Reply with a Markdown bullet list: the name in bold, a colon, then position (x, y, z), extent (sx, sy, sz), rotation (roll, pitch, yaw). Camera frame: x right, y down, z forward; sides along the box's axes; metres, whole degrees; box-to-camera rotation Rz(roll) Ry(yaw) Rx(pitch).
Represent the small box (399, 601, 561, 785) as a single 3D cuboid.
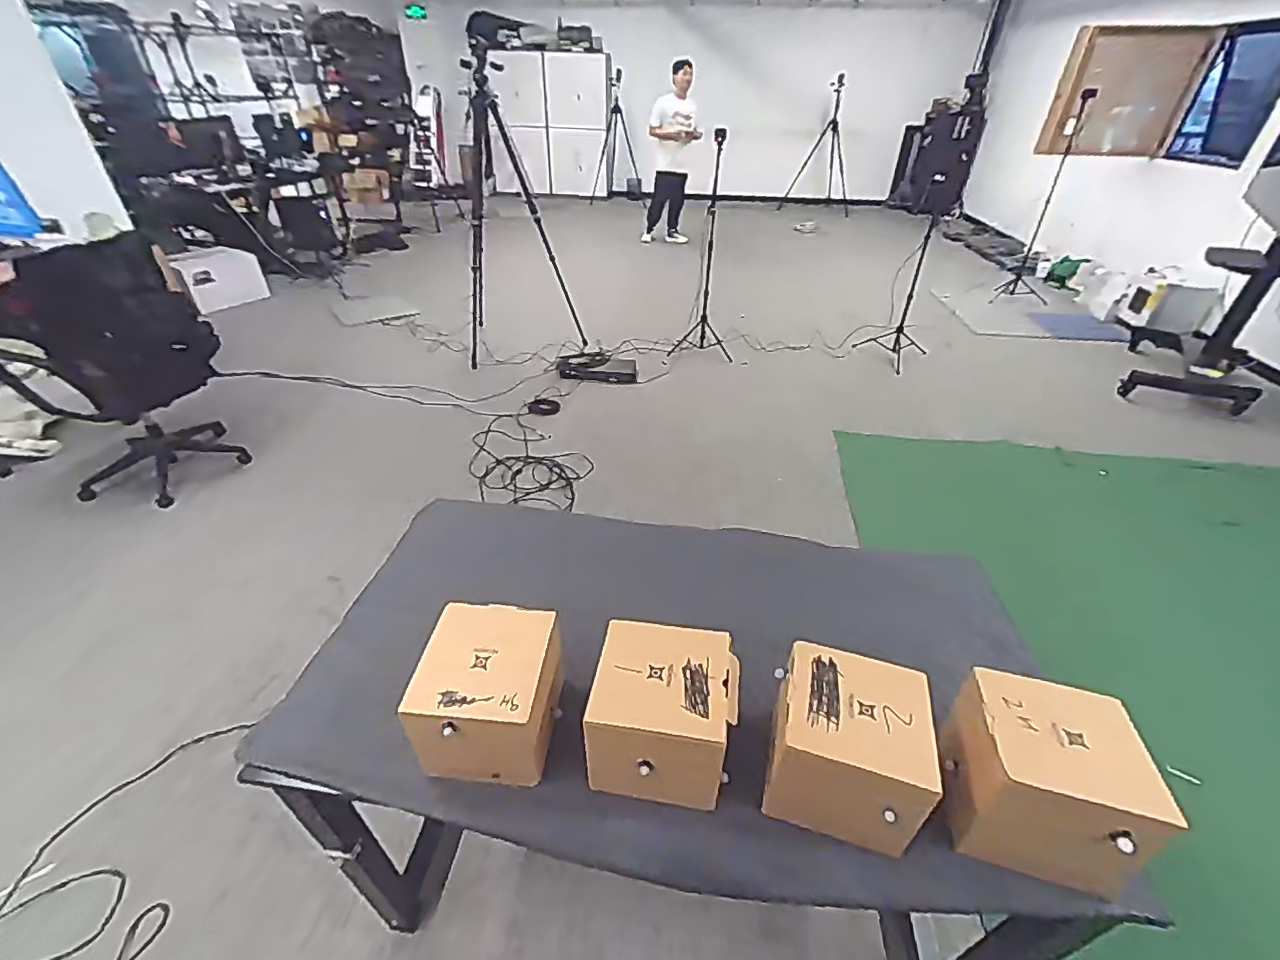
- **small box**: position (-0.212, 0.300, 0.774), extent (0.168, 0.176, 0.179), rotation (3, 36, 4)
